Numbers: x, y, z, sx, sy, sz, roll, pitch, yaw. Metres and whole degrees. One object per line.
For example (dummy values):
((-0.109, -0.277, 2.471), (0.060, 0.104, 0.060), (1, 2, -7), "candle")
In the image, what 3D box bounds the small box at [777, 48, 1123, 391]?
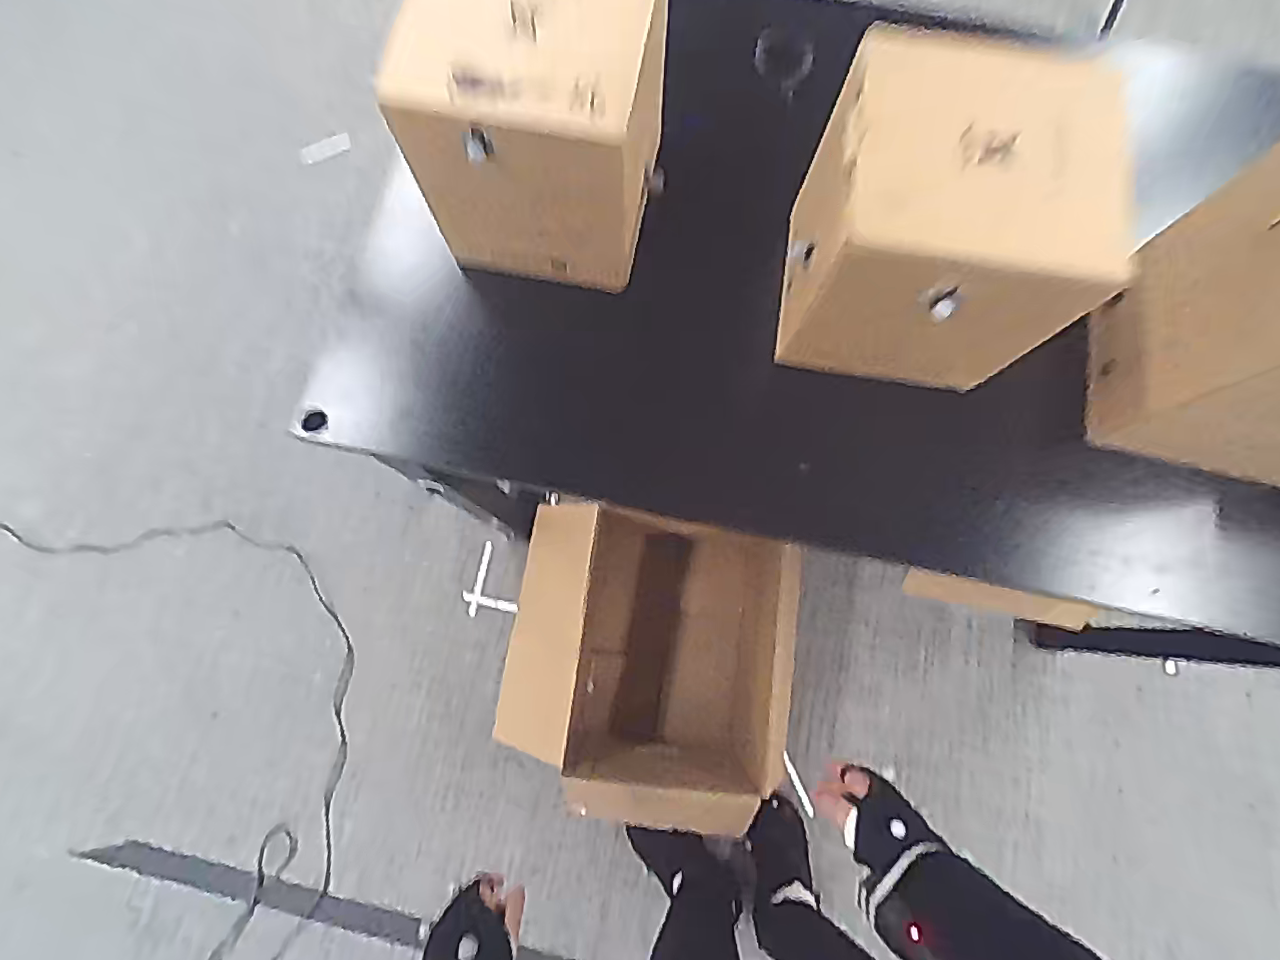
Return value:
((0.217, -0.184, 0.425), (0.179, 0.176, 0.168), (9, 77, 1), "small box")

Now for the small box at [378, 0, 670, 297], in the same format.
((-0.076, -0.284, 0.444), (0.168, 0.176, 0.179), (11, 76, 2), "small box")

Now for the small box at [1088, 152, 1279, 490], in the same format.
((0.485, -0.102, 0.404), (0.179, 0.176, 0.168), (14, 75, 3), "small box")
